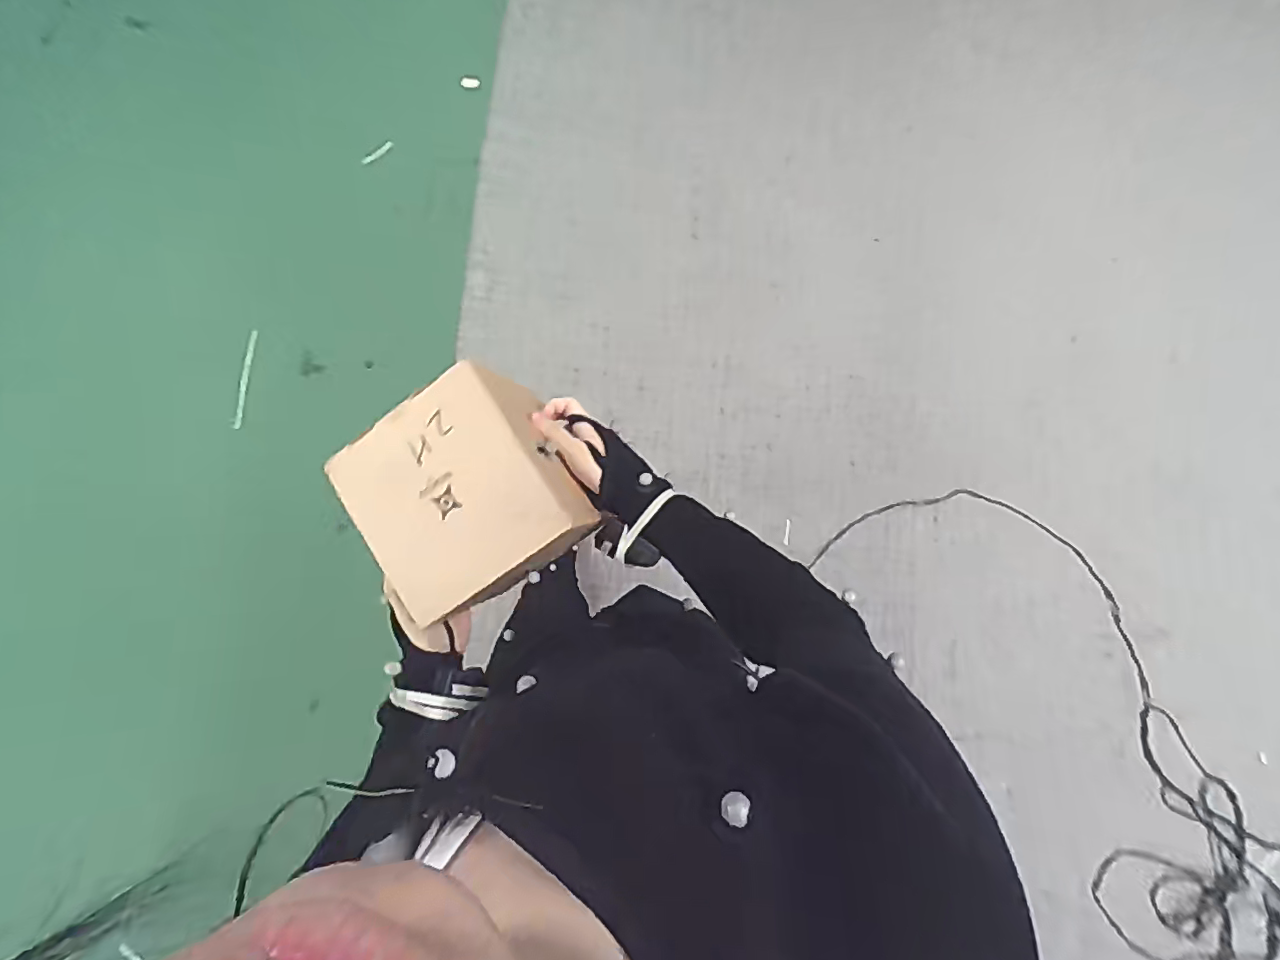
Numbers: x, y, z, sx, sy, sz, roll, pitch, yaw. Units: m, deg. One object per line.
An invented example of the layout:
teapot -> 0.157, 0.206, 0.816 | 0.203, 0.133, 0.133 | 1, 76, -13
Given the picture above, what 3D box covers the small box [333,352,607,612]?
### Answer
small box -> -0.153, 0.003, 0.545 | 0.168, 0.176, 0.179 | -31, 84, 6
